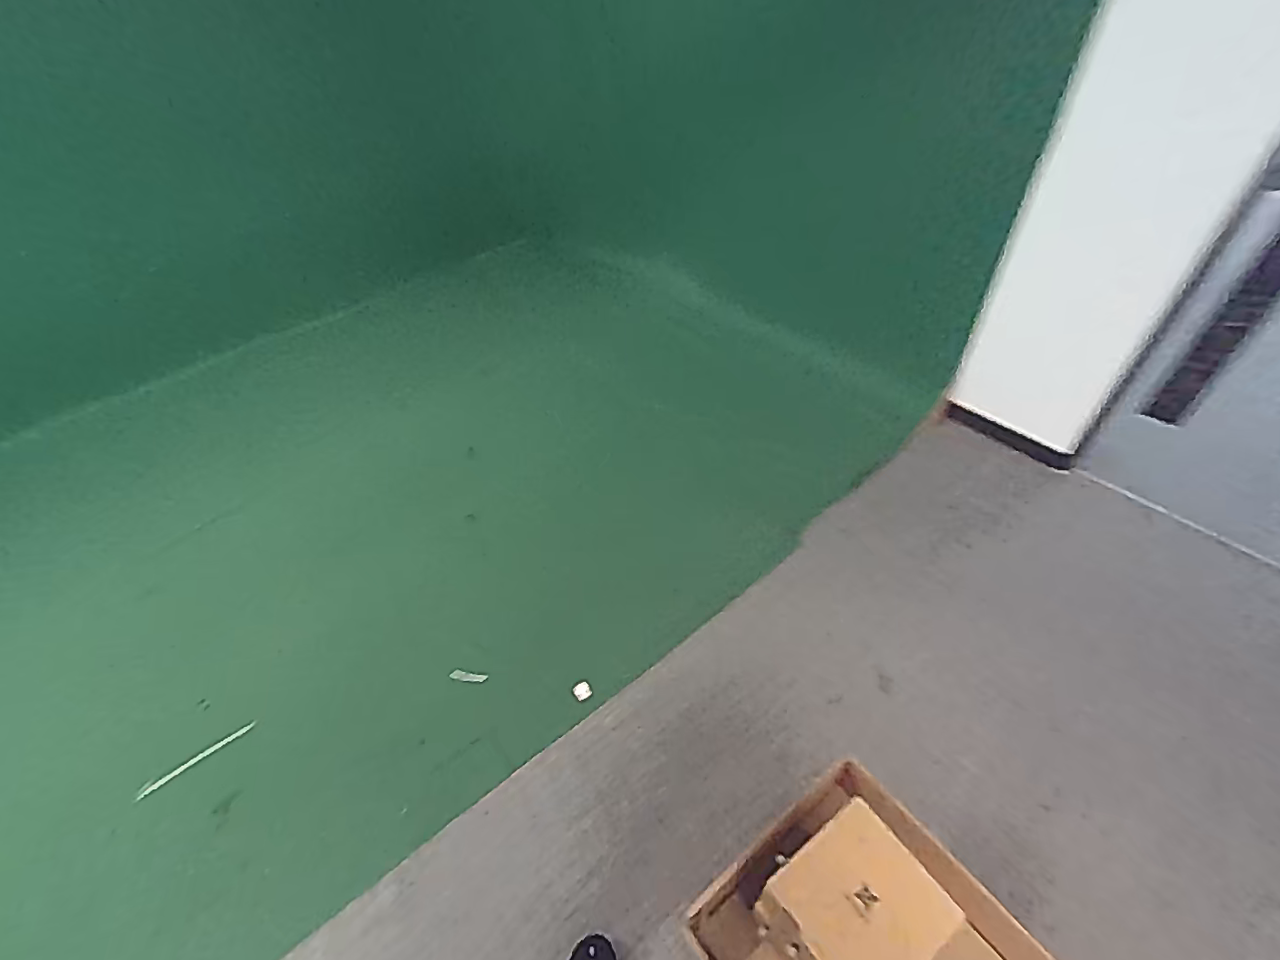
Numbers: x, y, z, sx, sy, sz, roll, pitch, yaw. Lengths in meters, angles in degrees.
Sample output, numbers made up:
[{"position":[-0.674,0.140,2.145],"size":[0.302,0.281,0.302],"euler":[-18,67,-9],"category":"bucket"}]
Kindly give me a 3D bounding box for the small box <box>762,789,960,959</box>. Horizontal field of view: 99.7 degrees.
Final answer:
[{"position":[0.284,0.568,0.738],"size":[0.179,0.176,0.168],"euler":[-30,51,-19],"category":"small box"}]
